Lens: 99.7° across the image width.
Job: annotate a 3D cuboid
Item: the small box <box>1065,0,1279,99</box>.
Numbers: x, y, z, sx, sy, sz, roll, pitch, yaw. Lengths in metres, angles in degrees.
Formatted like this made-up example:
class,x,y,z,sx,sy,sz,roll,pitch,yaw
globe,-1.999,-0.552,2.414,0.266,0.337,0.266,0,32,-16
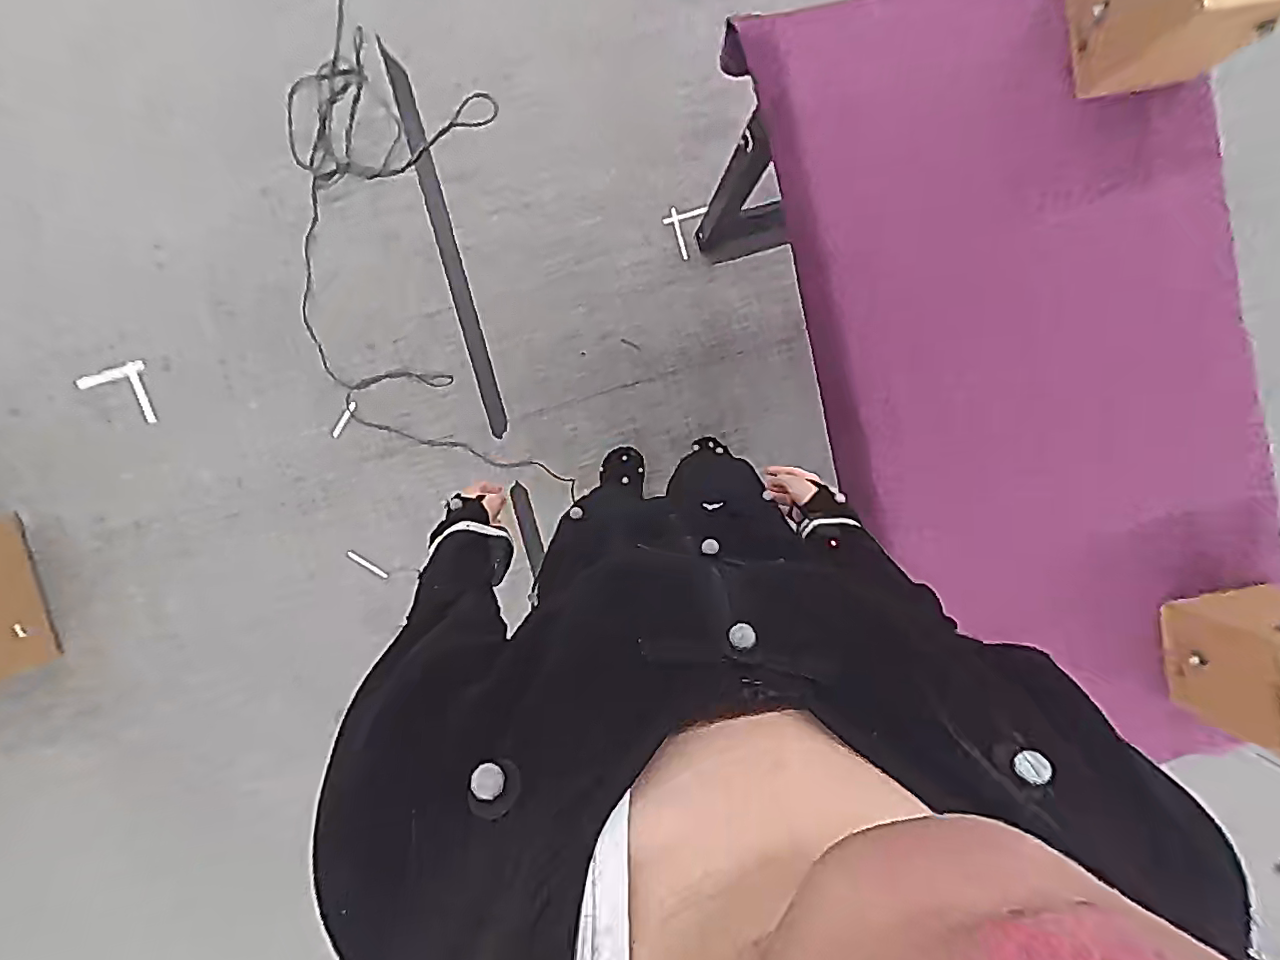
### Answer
class,x,y,z,sx,sy,sz,roll,pitch,yaw
small box,0.687,-0.623,0.679,0.179,0.176,0.168,-11,96,-1

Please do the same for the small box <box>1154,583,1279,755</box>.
class,x,y,z,sx,sy,sz,roll,pitch,yaw
small box,0.910,0.260,0.783,0.179,0.176,0.168,-11,96,1
